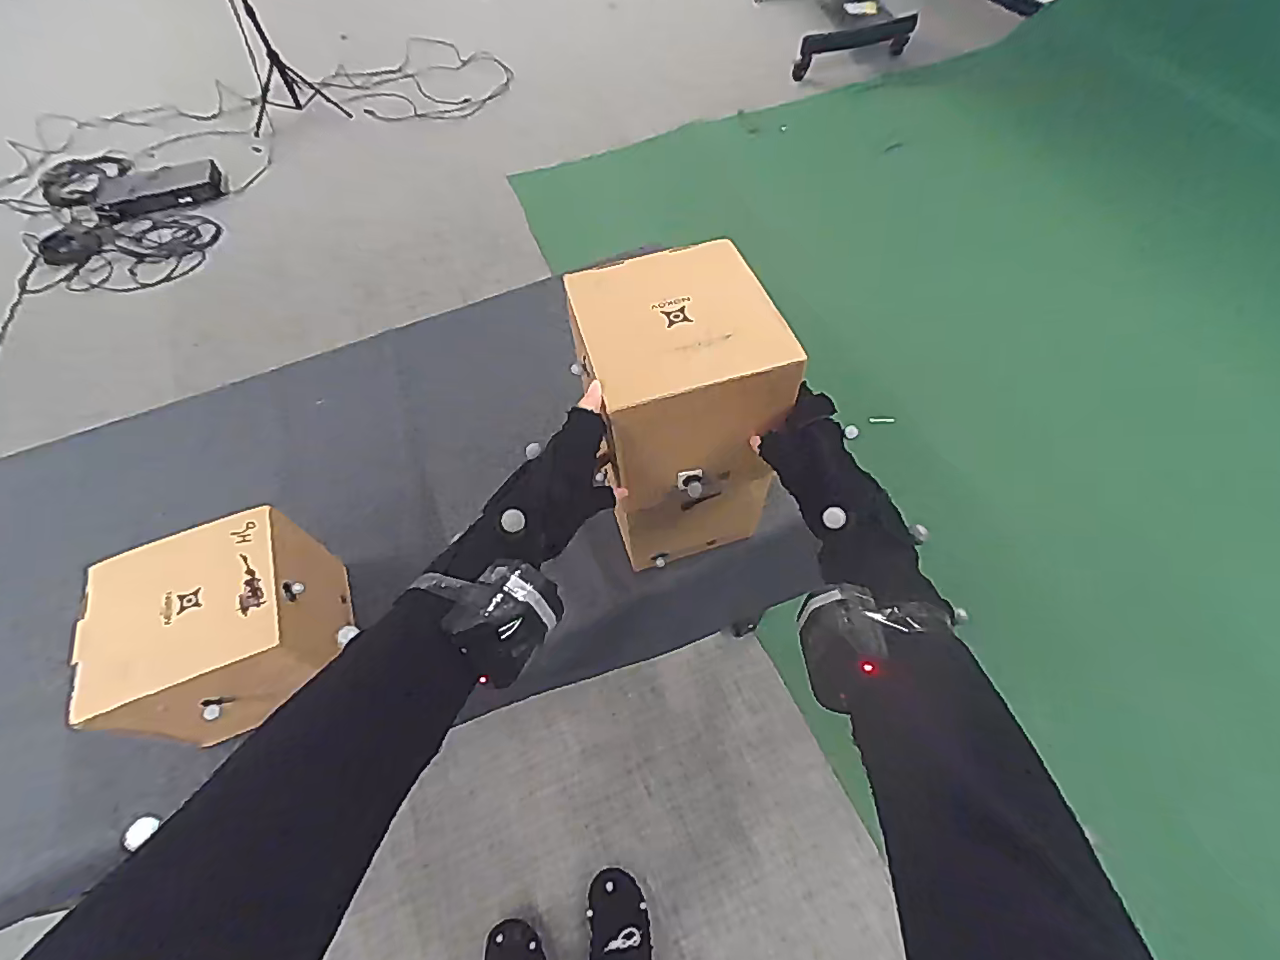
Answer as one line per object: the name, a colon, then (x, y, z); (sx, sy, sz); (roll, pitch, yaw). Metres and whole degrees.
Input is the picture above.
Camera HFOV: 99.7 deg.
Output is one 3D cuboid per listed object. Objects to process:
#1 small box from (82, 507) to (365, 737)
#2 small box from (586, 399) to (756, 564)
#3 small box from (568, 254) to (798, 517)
small box: (-0.437, 0.163, 0.597); (0.179, 0.176, 0.168); (-21, 59, -10)
small box: (0.039, -0.010, 0.687); (0.168, 0.176, 0.179); (-16, 59, -7)
small box: (0.033, -0.090, 0.541); (0.168, 0.176, 0.179); (-15, 57, -6)
